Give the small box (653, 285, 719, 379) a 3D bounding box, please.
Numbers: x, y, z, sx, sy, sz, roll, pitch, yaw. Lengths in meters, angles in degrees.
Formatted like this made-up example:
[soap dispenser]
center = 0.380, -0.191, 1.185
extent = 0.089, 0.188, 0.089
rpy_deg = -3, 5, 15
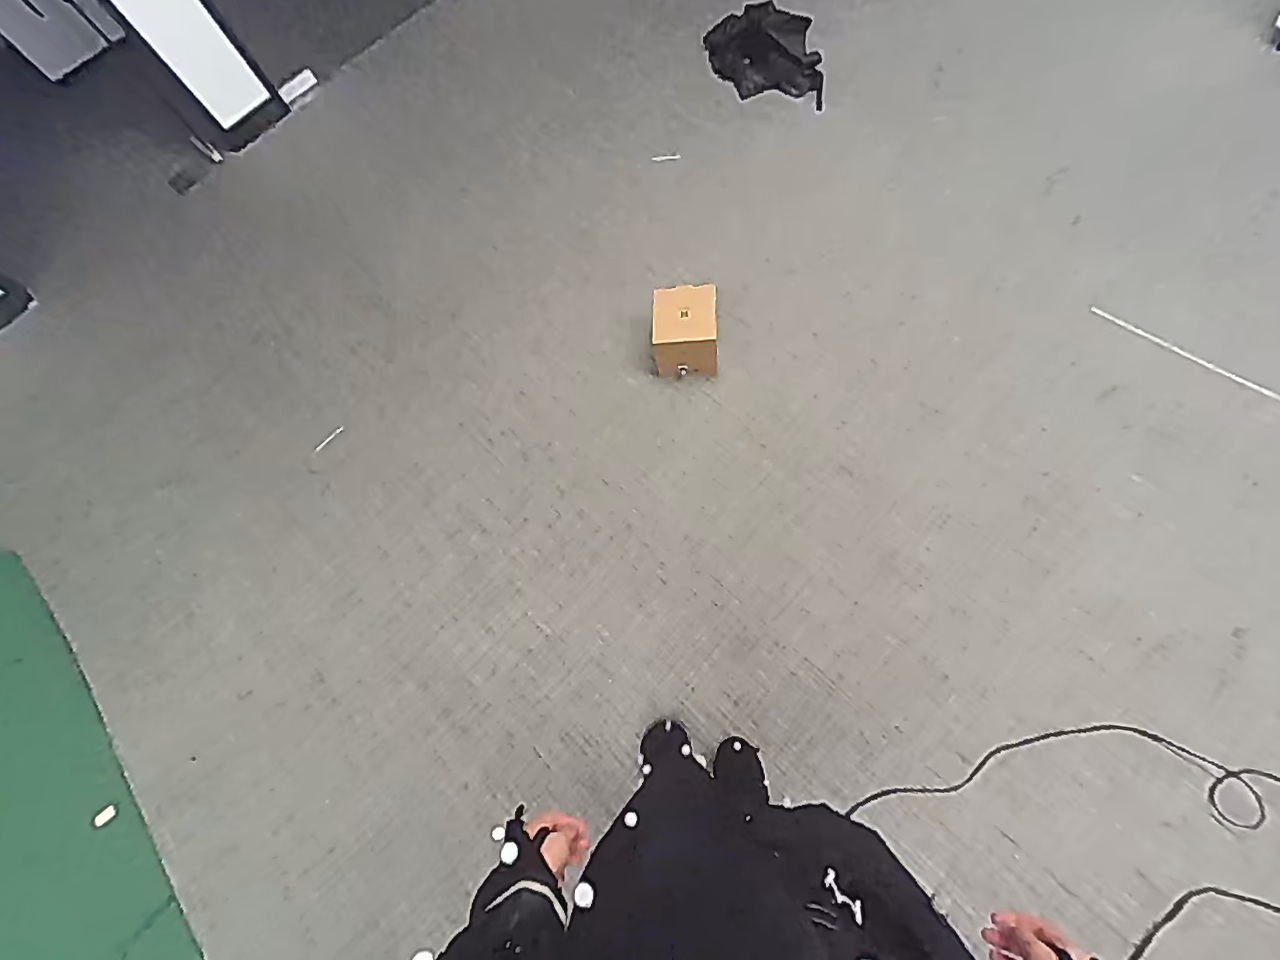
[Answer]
[small box]
center = 0.127, -0.393, 1.453
extent = 0.168, 0.176, 0.179
rpy_deg = -2, 69, 9
